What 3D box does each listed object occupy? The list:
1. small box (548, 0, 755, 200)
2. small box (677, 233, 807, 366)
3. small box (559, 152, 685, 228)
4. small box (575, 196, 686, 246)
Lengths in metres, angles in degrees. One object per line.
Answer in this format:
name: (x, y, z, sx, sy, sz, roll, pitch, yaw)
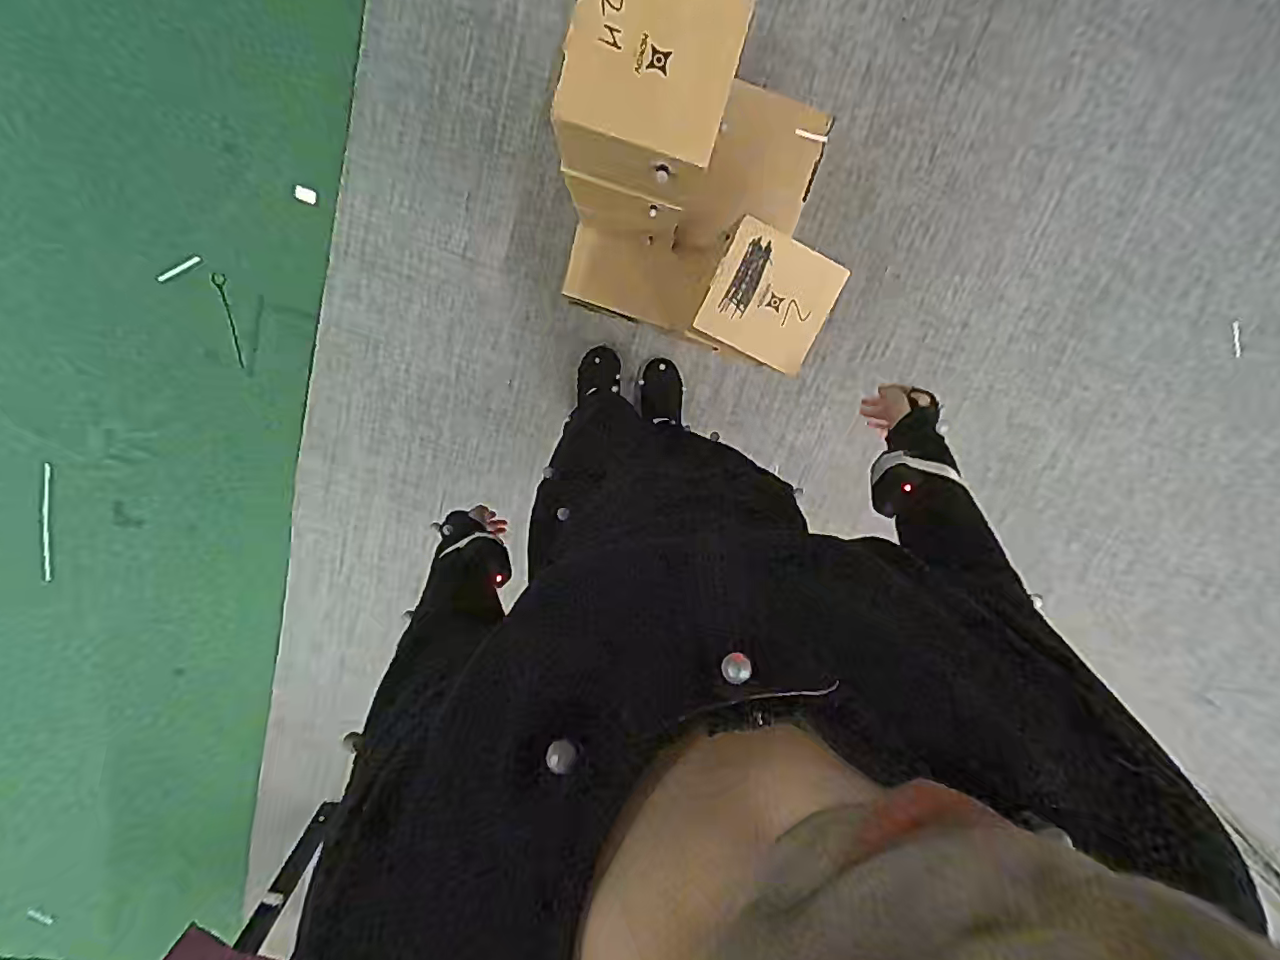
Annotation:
small box: (0.008, -0.449, 0.630, 0.179, 0.176, 0.168, 16, 102, -6)
small box: (0.176, -0.327, 1.003, 0.168, 0.176, 0.179, 20, 104, -7)
small box: (-0.007, -0.488, 0.790, 0.179, 0.176, 0.168, 15, 102, -6)
small box: (-0.005, -0.524, 0.948, 0.179, 0.176, 0.168, 14, 103, -4)
